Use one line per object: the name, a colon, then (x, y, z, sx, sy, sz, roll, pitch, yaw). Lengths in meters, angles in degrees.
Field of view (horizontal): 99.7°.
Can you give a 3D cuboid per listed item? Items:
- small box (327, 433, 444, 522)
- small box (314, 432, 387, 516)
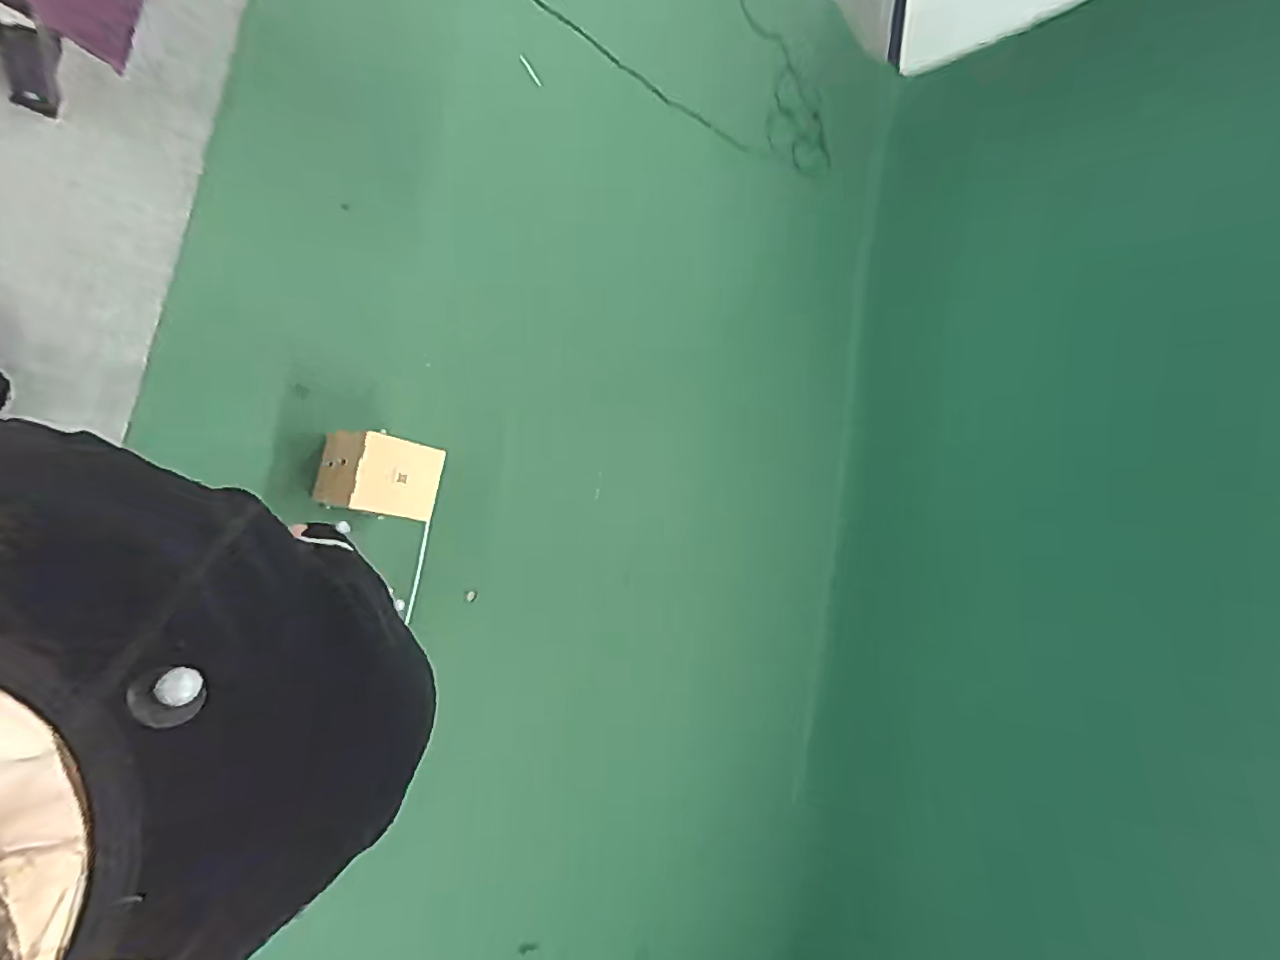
small box: (-0.578, -0.006, 1.227, 0.179, 0.176, 0.168, 18, 80, -43)
small box: (-0.689, -0.012, 1.347, 0.168, 0.176, 0.179, 17, 79, -43)
